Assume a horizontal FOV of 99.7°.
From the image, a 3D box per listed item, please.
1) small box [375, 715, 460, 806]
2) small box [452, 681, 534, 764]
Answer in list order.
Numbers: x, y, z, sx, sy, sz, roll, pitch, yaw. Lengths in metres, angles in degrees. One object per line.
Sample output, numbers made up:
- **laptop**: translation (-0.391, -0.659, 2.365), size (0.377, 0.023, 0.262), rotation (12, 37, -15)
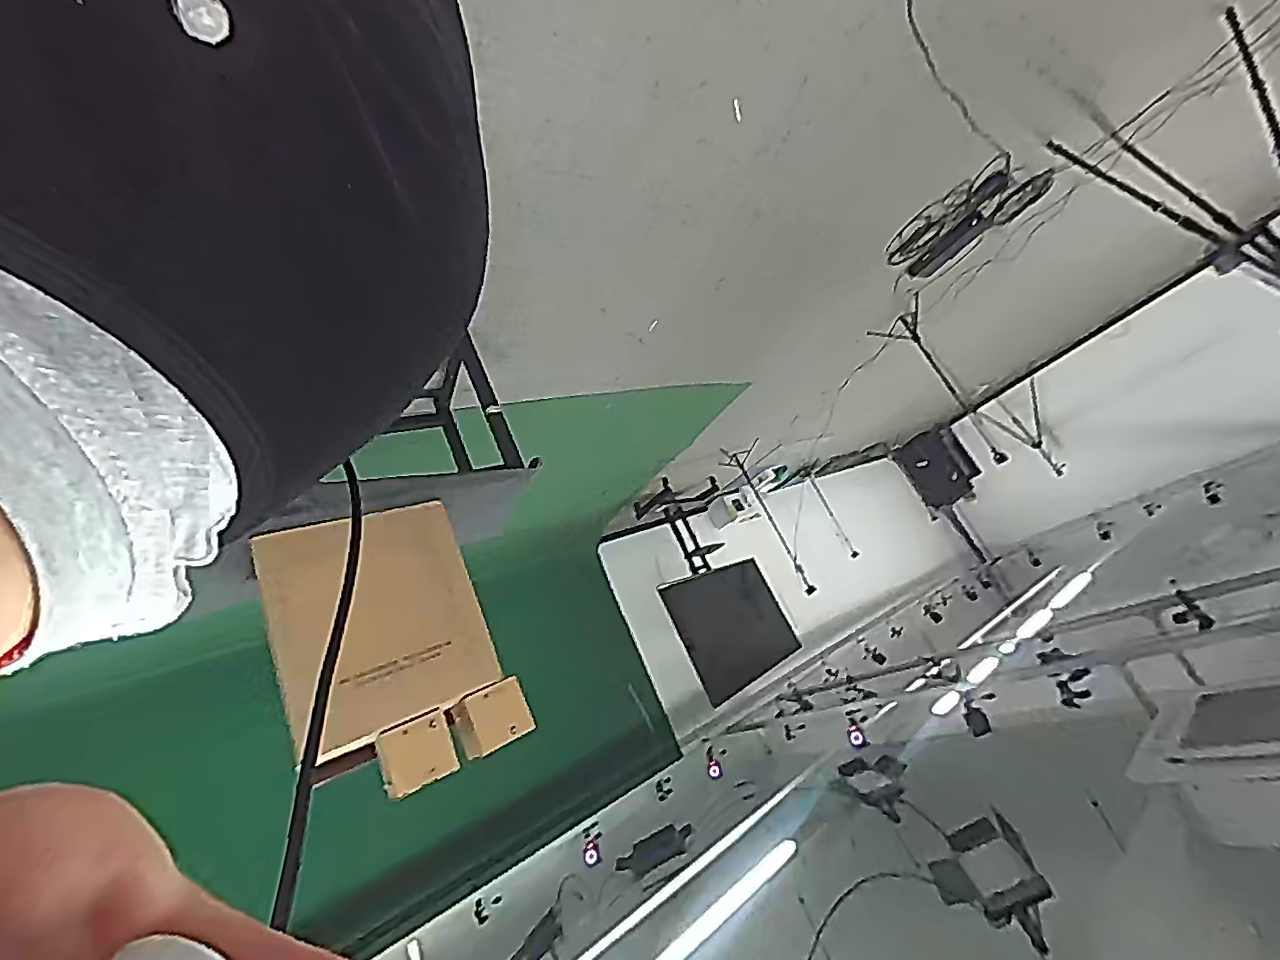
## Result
- **small box**: translation (-0.626, 0.779, 1.510), size (0.168, 0.176, 0.179), rotation (-13, 159, -36)
- **small box**: translation (-0.451, 0.732, 1.641), size (0.168, 0.176, 0.179), rotation (-16, 161, -40)
